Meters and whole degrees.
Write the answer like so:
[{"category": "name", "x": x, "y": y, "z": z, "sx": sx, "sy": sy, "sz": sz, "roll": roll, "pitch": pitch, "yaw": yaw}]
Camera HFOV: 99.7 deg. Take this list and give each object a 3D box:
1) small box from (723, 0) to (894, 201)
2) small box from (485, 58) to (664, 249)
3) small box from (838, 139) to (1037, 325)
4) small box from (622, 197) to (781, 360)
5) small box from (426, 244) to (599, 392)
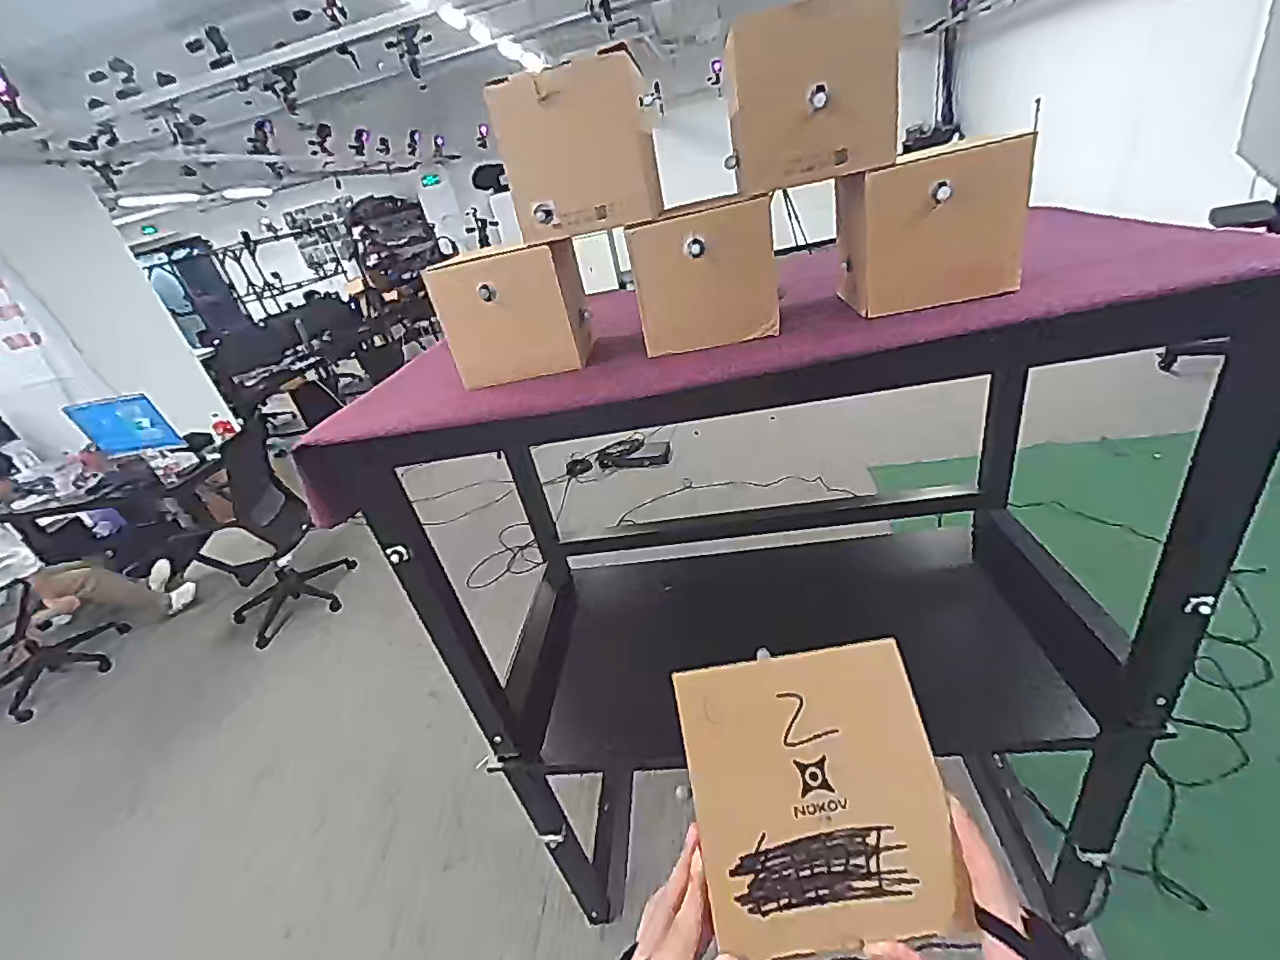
[{"category": "small box", "x": 0.194, "y": -0.438, "z": 0.642, "sx": 0.168, "sy": 0.176, "sz": 0.179, "roll": -8, "pitch": 29, "yaw": 10}, {"category": "small box", "x": -0.067, "y": -0.403, "z": 0.692, "sx": 0.168, "sy": 0.176, "sz": 0.179, "roll": -7, "pitch": 29, "yaw": 12}, {"category": "small box", "x": 0.359, "y": -0.313, "z": 0.687, "sx": 0.179, "sy": 0.176, "sz": 0.168, "roll": -9, "pitch": 28, "yaw": 11}, {"category": "small box", "x": 0.088, "y": -0.272, "z": 0.735, "sx": 0.179, "sy": 0.176, "sz": 0.168, "roll": -8, "pitch": 29, "yaw": 11}, {"category": "small box", "x": -0.173, "y": -0.241, "z": 0.792, "sx": 0.179, "sy": 0.176, "sz": 0.168, "roll": -9, "pitch": 30, "yaw": 9}]
